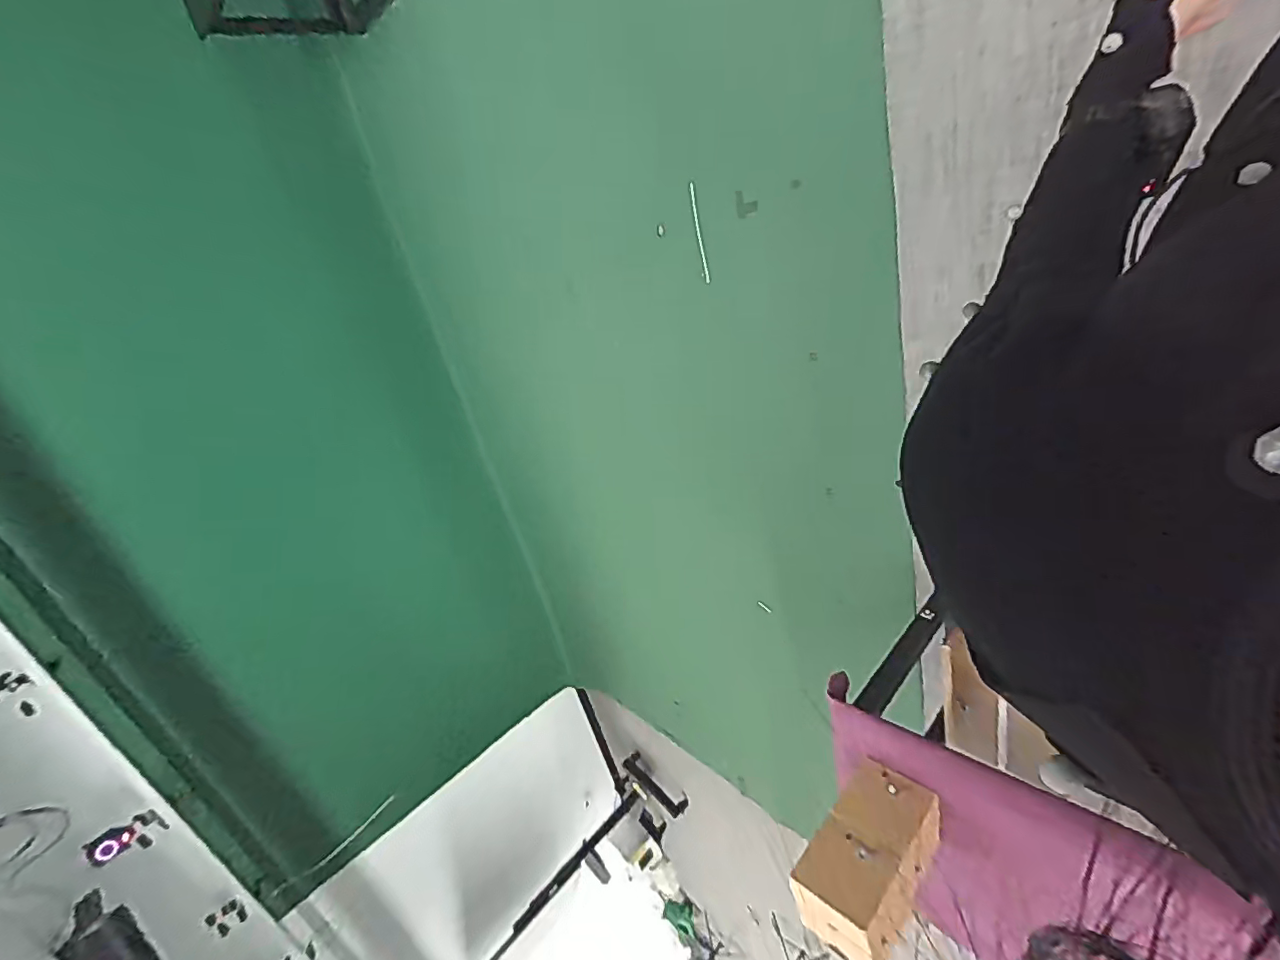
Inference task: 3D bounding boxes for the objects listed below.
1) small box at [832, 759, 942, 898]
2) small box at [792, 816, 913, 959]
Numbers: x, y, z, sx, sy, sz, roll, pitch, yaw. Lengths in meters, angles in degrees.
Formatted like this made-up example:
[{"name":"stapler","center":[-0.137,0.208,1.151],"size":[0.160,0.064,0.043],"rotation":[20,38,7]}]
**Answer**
[{"name":"small box","center":[0.547,0.765,1.189],"size":[0.168,0.176,0.179],"rotation":[13,126,47]},{"name":"small box","center":[0.436,0.841,1.097],"size":[0.168,0.176,0.179],"rotation":[9,124,48]}]
